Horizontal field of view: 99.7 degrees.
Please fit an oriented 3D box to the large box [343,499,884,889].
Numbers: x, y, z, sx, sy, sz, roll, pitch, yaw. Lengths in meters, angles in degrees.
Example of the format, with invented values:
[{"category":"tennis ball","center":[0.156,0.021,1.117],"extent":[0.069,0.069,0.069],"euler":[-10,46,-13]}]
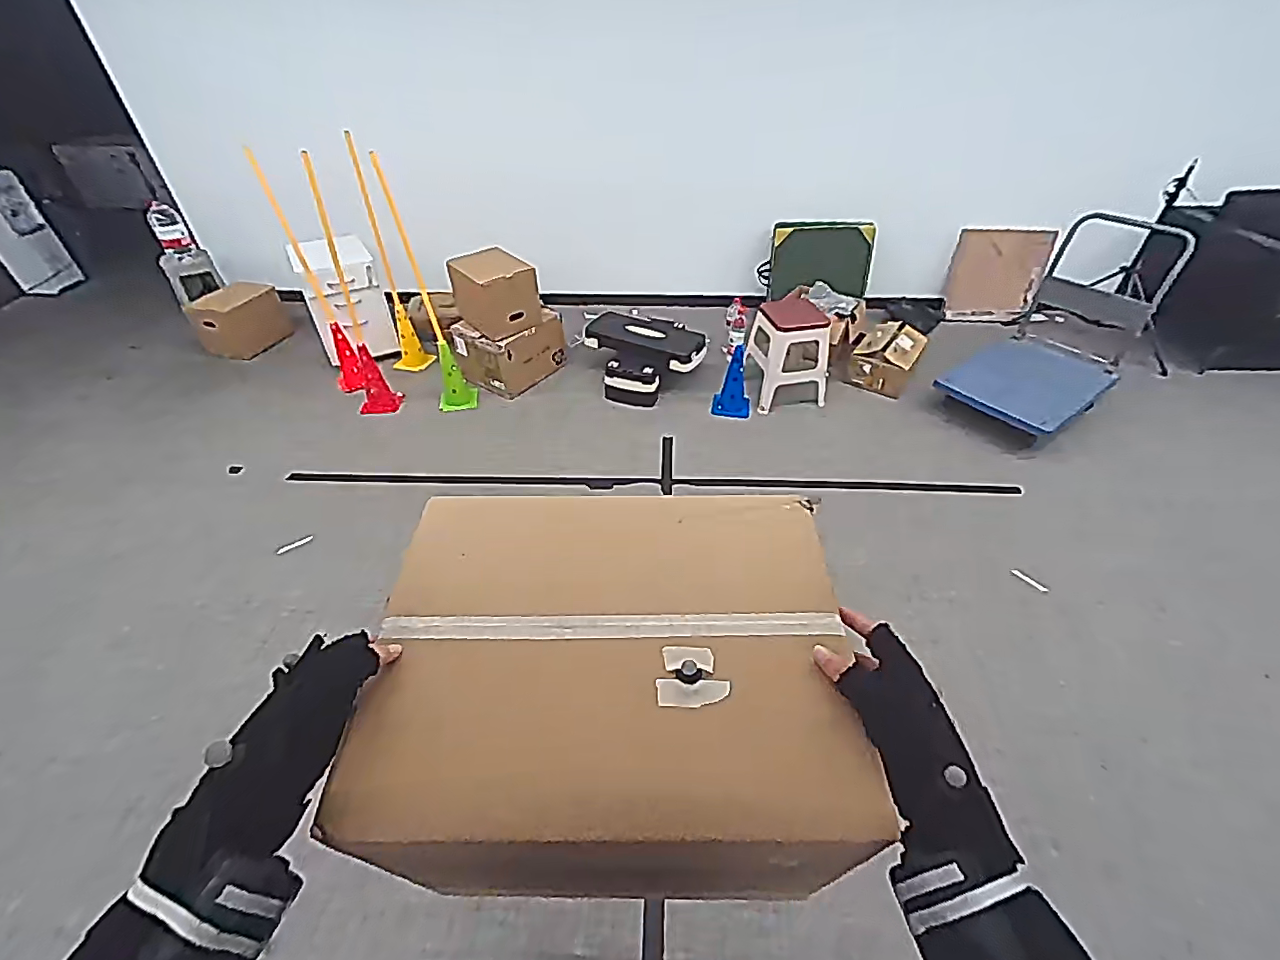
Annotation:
[{"category":"large box","center":[-0.020,0.236,0.598],"extent":[0.408,0.320,0.320],"euler":[0,47,0]}]
